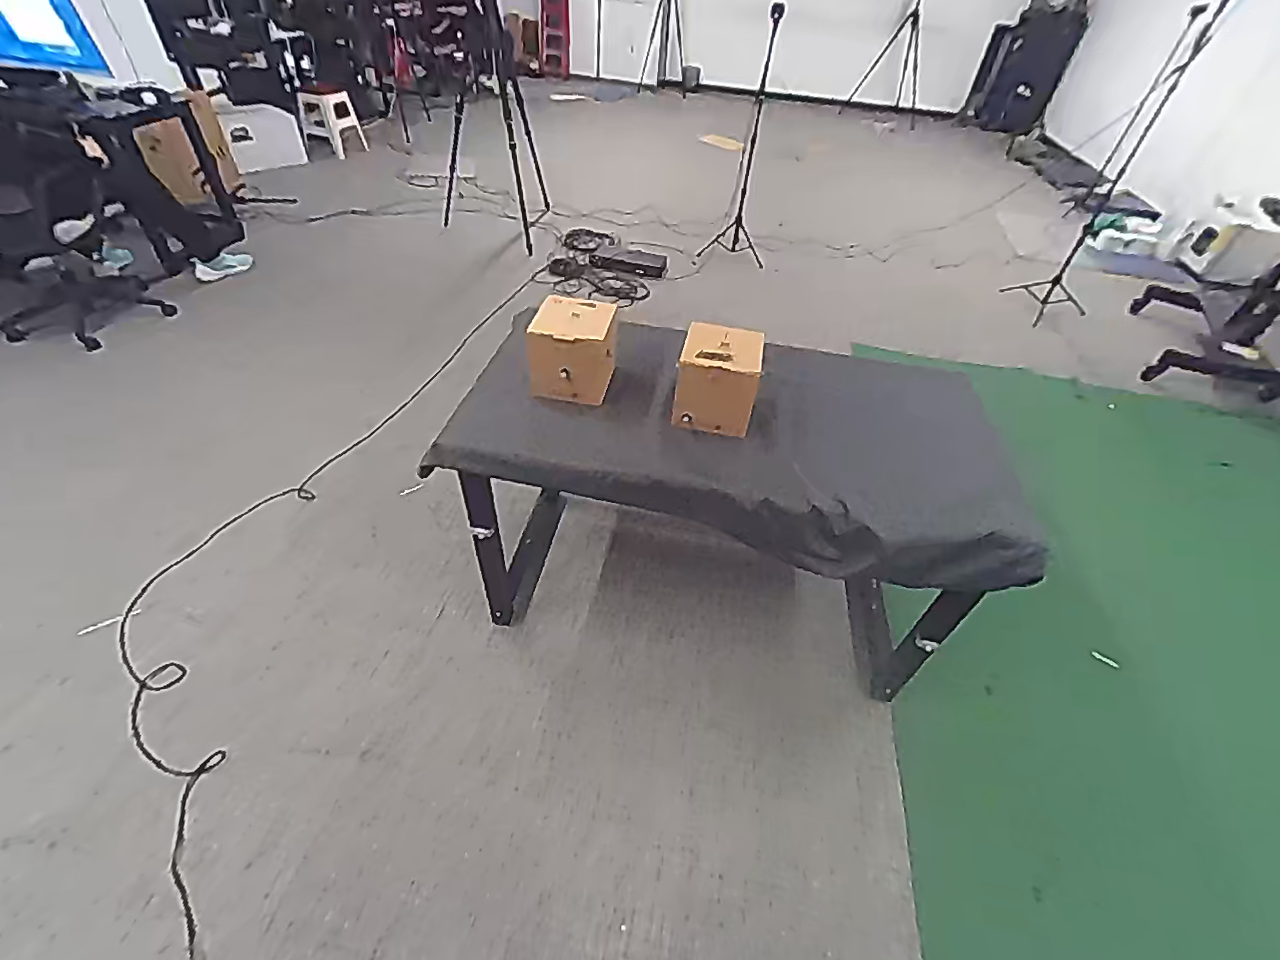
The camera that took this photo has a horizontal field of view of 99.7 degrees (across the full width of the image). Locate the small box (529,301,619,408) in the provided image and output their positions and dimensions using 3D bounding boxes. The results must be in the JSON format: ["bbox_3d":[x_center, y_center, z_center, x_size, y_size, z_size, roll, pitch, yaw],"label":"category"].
[{"bbox_3d":[-0.144,-0.288,1.249,0.168,0.176,0.179,9,45,4],"label":"small box"}]

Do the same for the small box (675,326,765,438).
[{"bbox_3d":[0.175,-0.216,1.201,0.168,0.176,0.179,11,43,7],"label":"small box"}]
